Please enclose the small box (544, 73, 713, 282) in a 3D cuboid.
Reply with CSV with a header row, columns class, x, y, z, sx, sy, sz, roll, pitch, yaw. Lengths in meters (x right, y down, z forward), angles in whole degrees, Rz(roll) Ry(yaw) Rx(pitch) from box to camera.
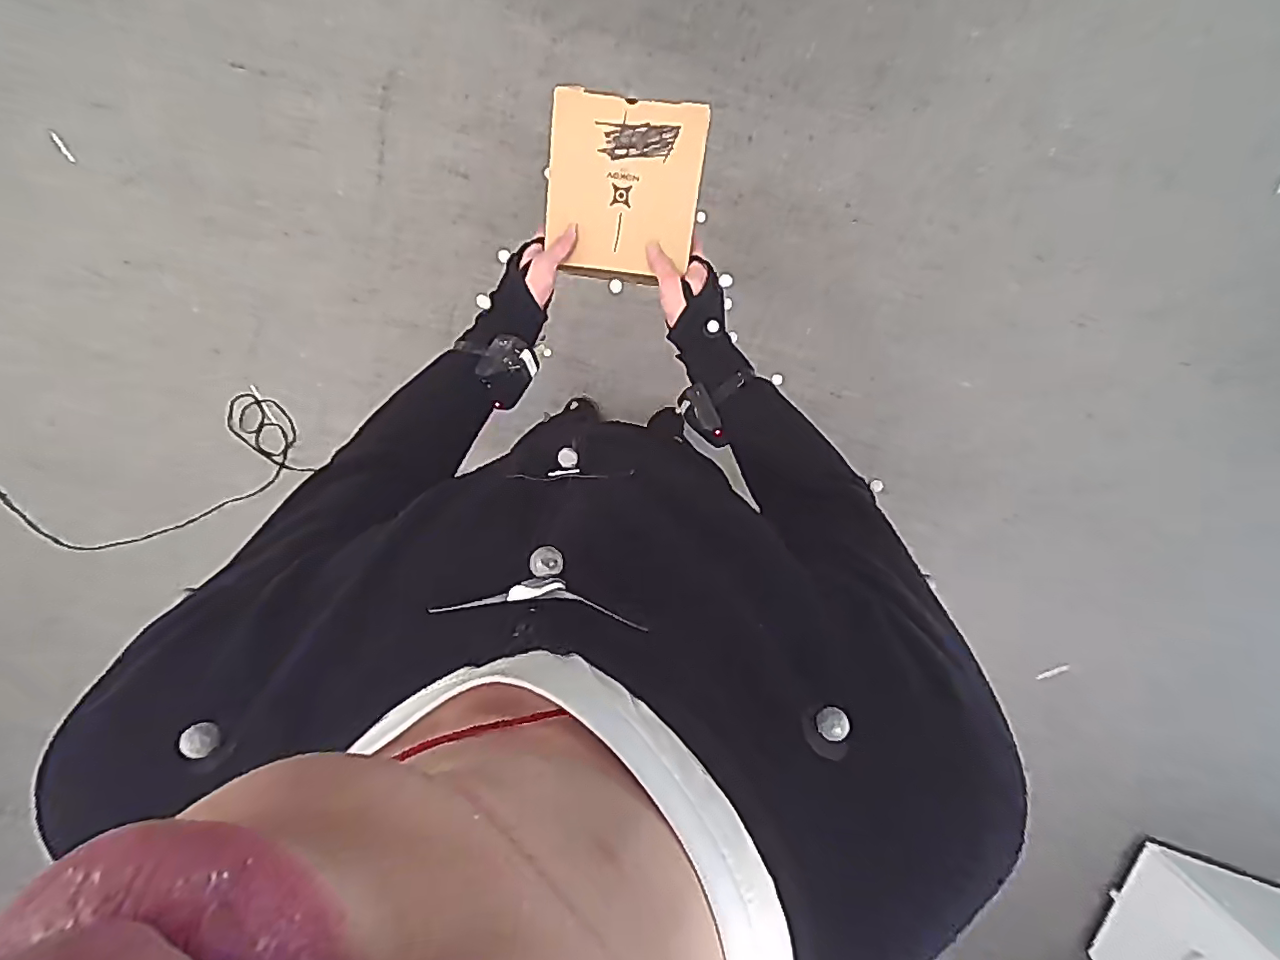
class,x,y,z,sx,sy,sz,roll,pitch,yaw
small box,-0.014,-0.350,0.660,0.168,0.176,0.179,8,107,-1
